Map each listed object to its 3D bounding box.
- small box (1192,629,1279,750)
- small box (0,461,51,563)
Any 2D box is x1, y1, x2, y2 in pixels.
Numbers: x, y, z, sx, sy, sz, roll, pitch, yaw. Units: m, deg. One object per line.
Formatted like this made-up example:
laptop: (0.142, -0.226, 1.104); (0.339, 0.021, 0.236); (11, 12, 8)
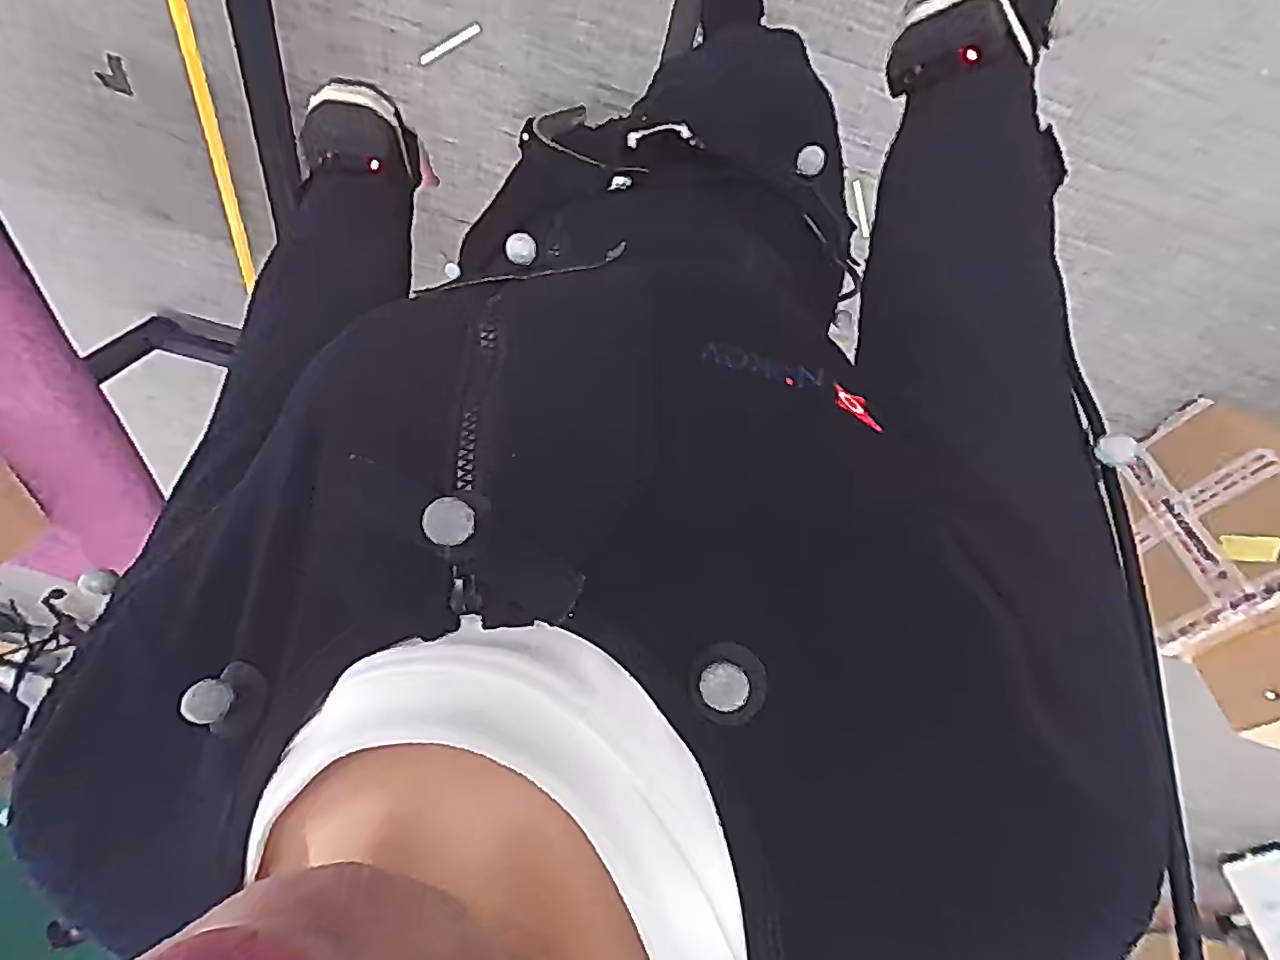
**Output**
small box: (1.297, 0.425, 1.089); (0.168, 0.176, 0.179); (18, 136, -2)
small box: (-1.126, 0.049, 0.856); (0.168, 0.176, 0.179); (14, 131, -2)
